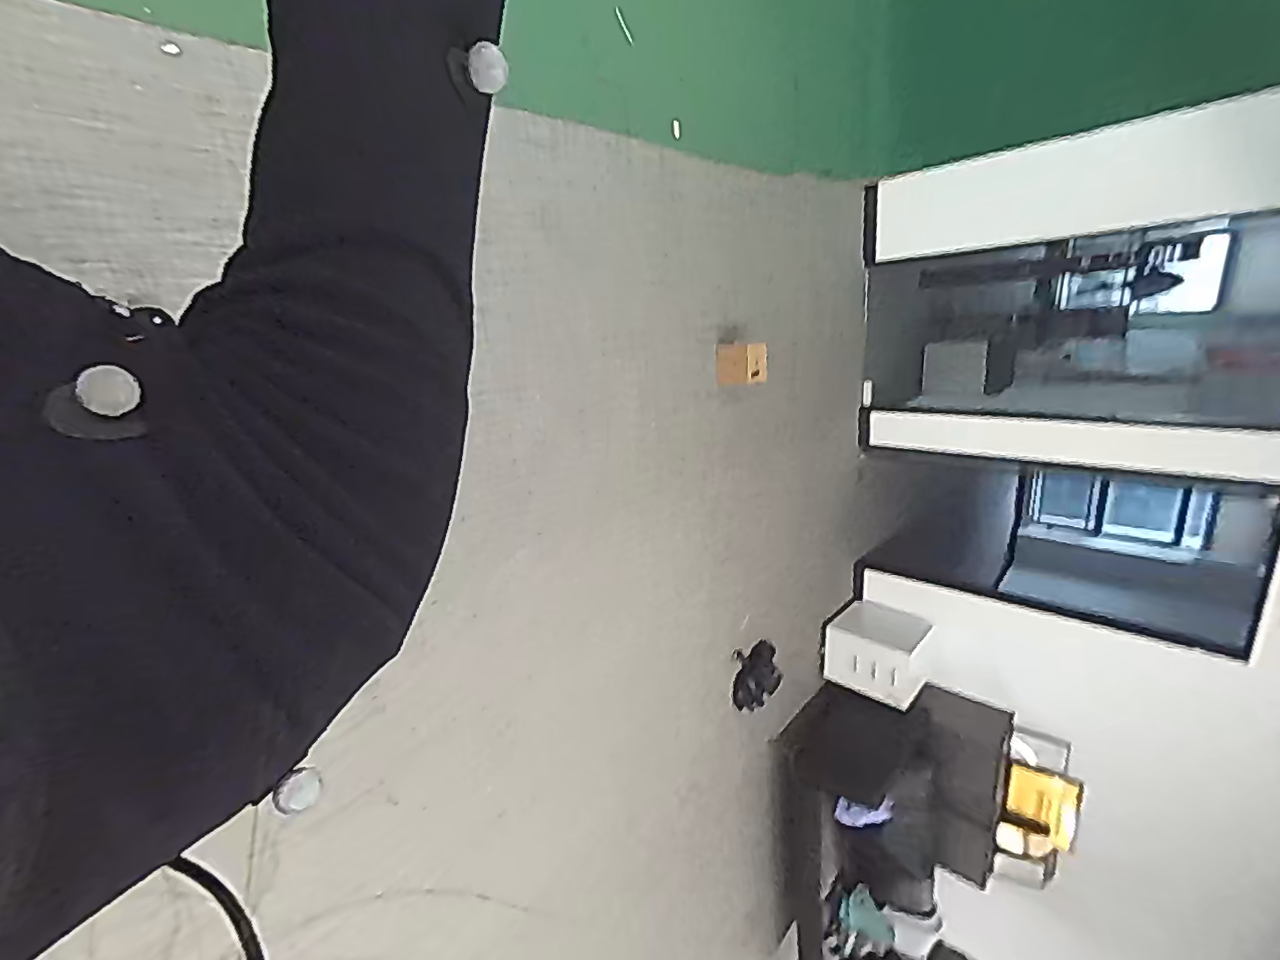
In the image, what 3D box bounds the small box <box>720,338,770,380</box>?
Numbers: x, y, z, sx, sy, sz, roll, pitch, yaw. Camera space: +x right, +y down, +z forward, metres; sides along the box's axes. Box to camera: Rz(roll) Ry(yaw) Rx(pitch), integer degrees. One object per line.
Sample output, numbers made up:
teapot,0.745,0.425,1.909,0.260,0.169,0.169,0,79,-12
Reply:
small box,0.483,-0.558,2.494,0.168,0.176,0.179,-19,110,-44
